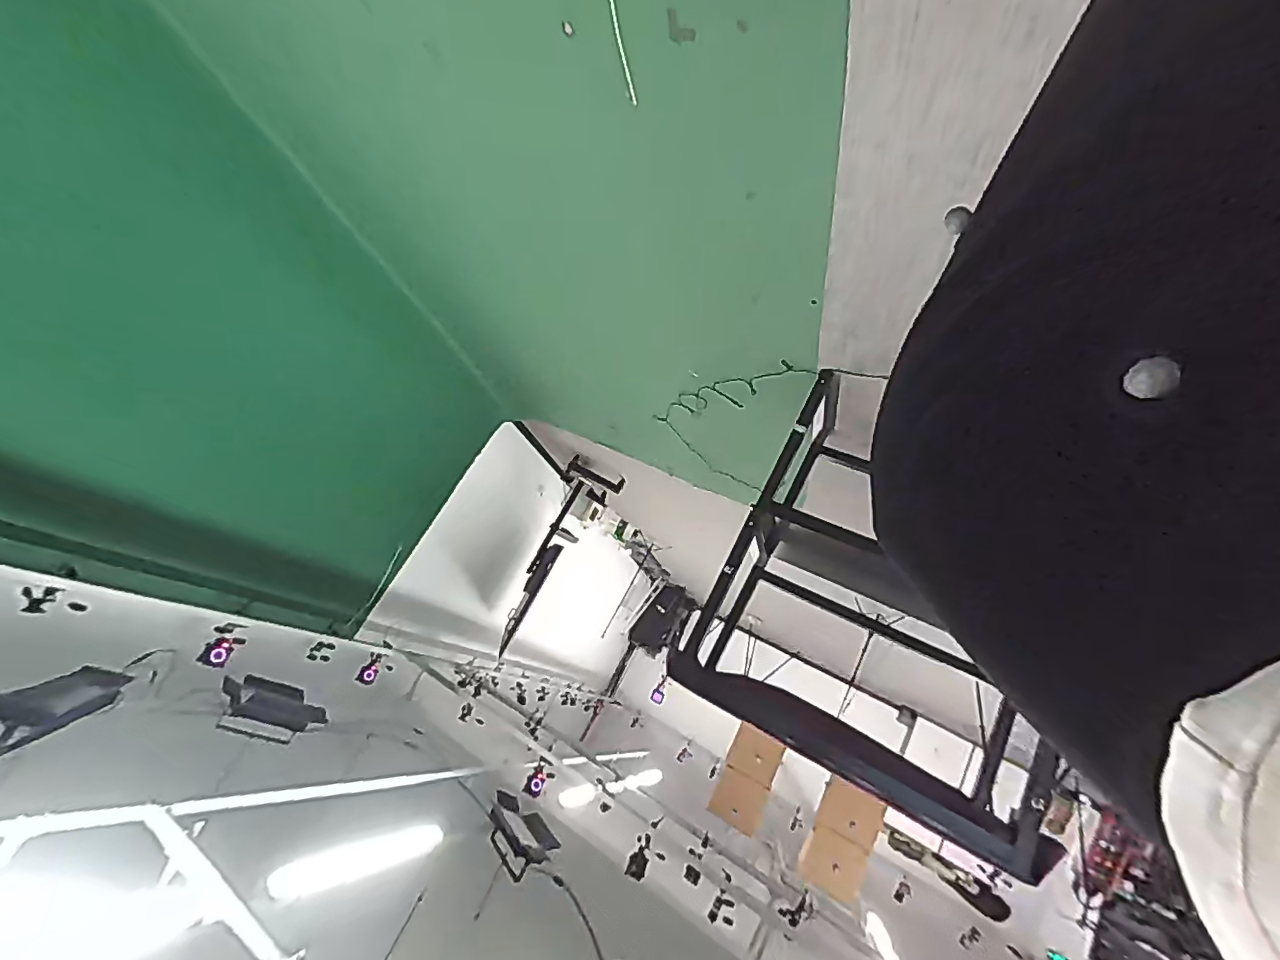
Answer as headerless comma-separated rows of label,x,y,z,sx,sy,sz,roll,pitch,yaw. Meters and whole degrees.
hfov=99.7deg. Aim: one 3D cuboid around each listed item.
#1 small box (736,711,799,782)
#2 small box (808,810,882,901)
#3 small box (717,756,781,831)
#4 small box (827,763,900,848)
small box,0.470,0.972,1.983,0.179,0.176,0.168,23,164,22
small box,0.676,1.230,1.790,0.179,0.176,0.168,23,165,23
small box,0.396,1.112,1.943,0.179,0.176,0.168,24,165,21
small box,0.756,1.092,1.830,0.179,0.176,0.168,24,165,23
